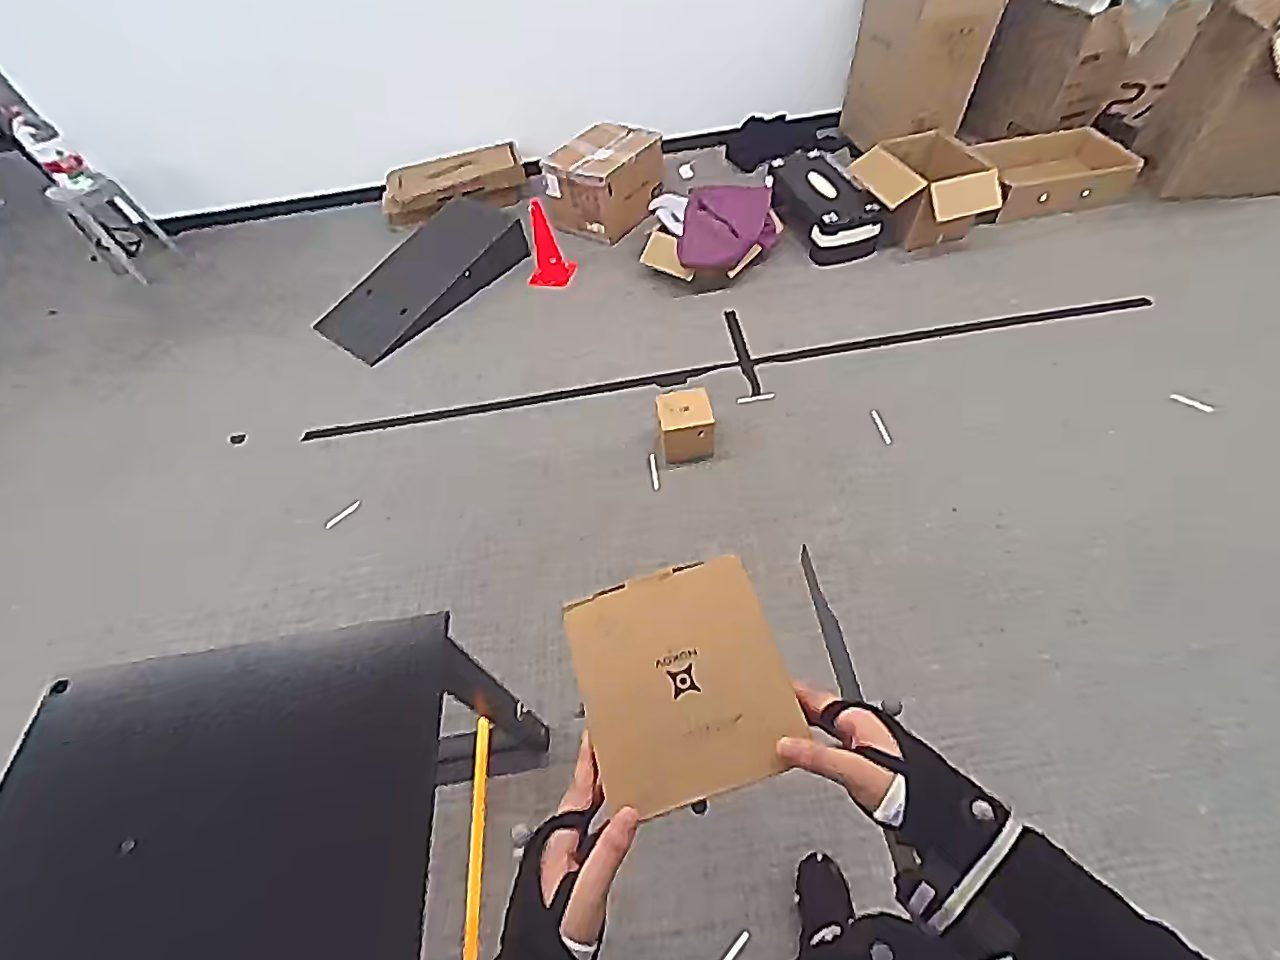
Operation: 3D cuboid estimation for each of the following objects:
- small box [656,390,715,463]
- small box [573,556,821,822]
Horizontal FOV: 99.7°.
[{"bbox_3d":[0.155,-0.180,1.853,0.179,0.176,0.168,-10,53,0],"label":"small box"},{"bbox_3d":[0.042,0.198,0.515,0.168,0.176,0.179,-16,63,-5],"label":"small box"}]
